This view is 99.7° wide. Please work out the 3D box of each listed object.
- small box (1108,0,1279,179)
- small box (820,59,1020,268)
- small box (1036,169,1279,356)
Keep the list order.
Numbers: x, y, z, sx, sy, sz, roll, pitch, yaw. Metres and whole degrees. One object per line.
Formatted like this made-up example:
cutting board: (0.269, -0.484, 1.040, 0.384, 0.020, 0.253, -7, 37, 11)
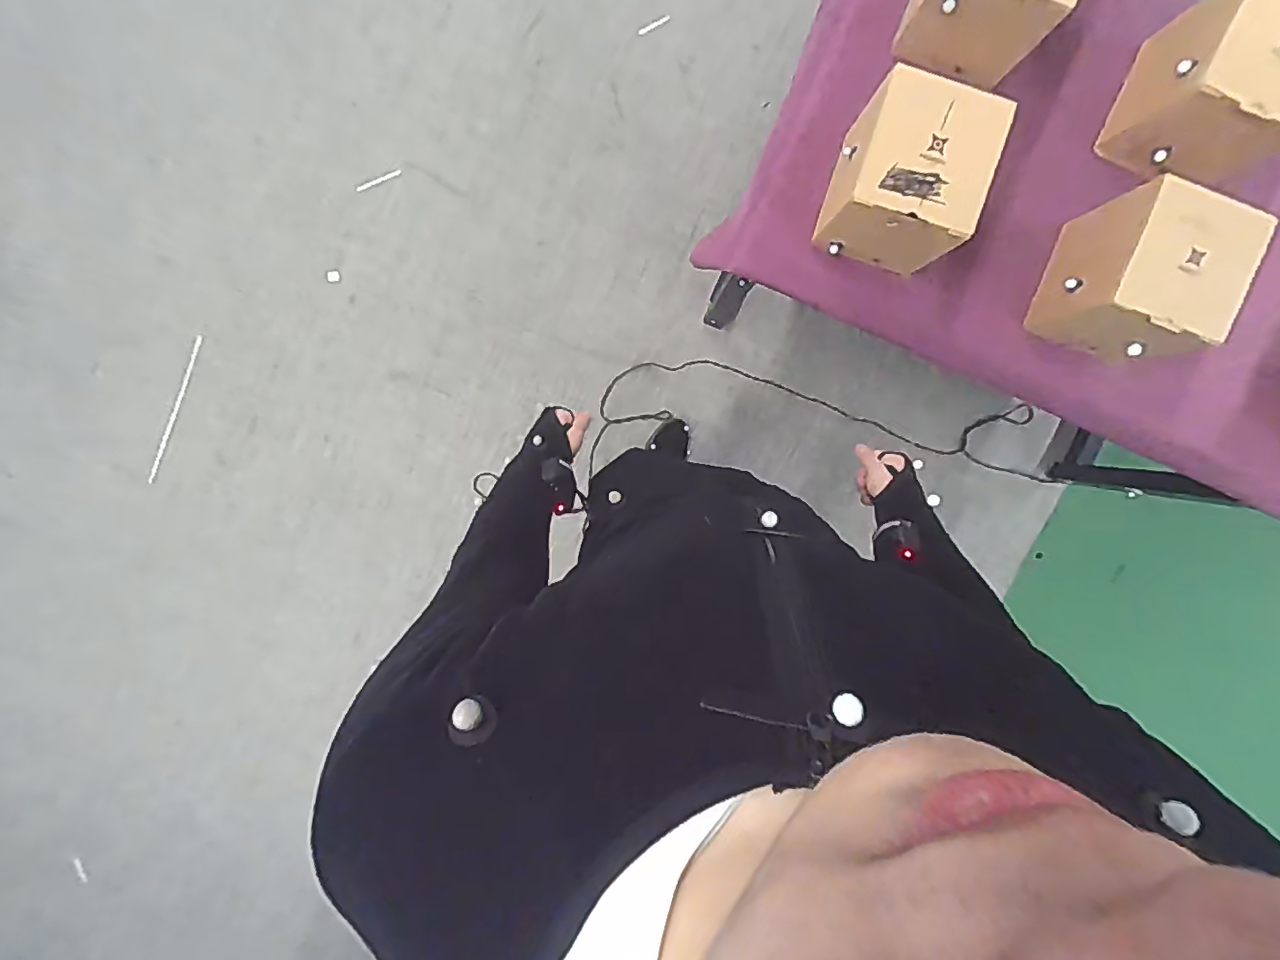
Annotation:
small box: (0.810, -0.552, 0.740, 0.168, 0.176, 0.179, 23, 97, -2)
small box: (0.372, -0.422, 0.757, 0.168, 0.176, 0.179, 17, 94, -1)
small box: (0.716, -0.290, 0.767, 0.168, 0.176, 0.179, 20, 94, -2)
